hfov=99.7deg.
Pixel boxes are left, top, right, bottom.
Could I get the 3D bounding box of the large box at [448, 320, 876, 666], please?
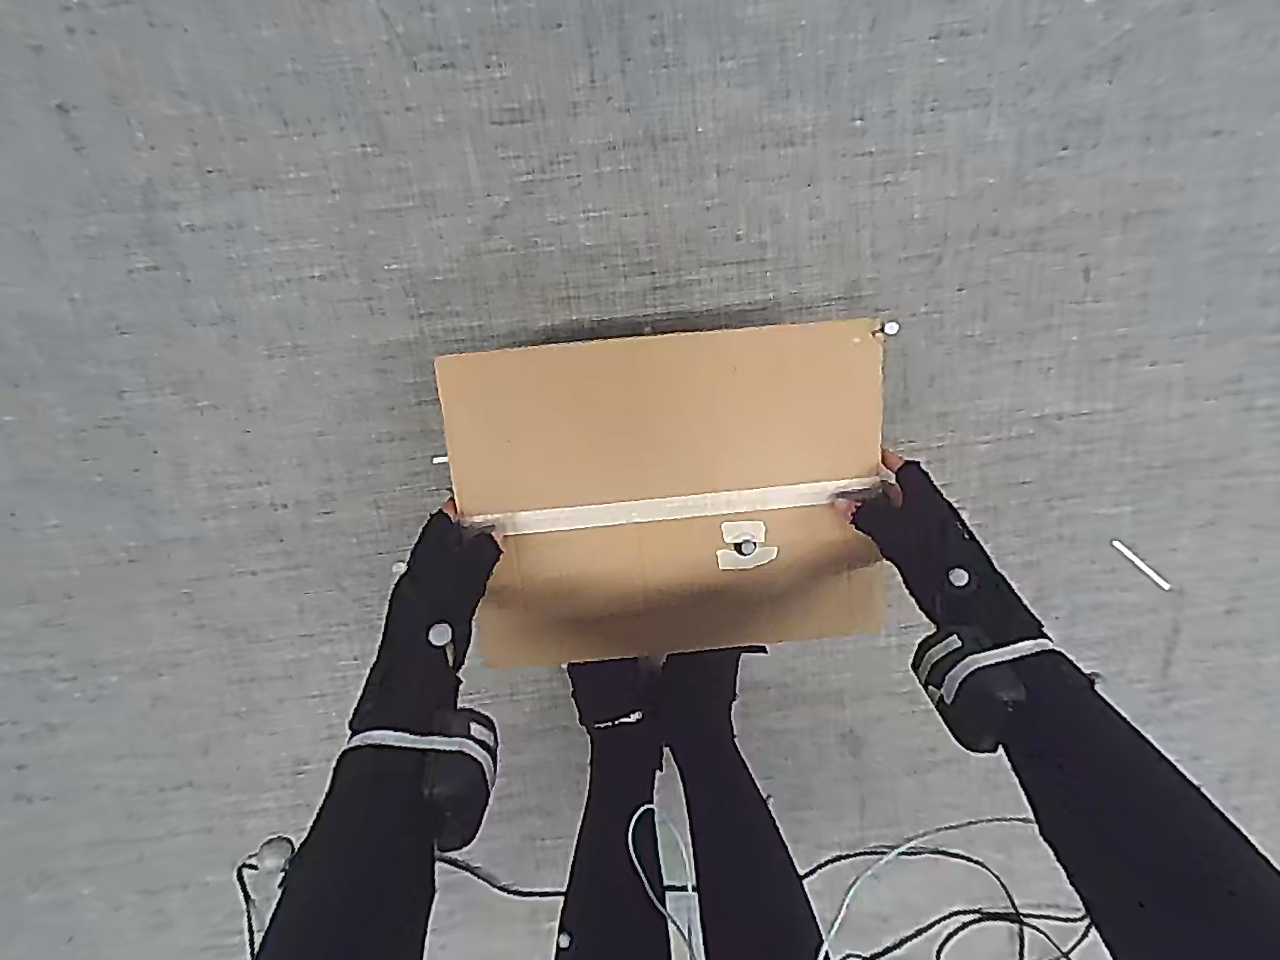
[{"bbox_3d":[0.026,-0.007,0.677,0.408,0.320,0.320,-6,103,-1],"label":"large box"}]
